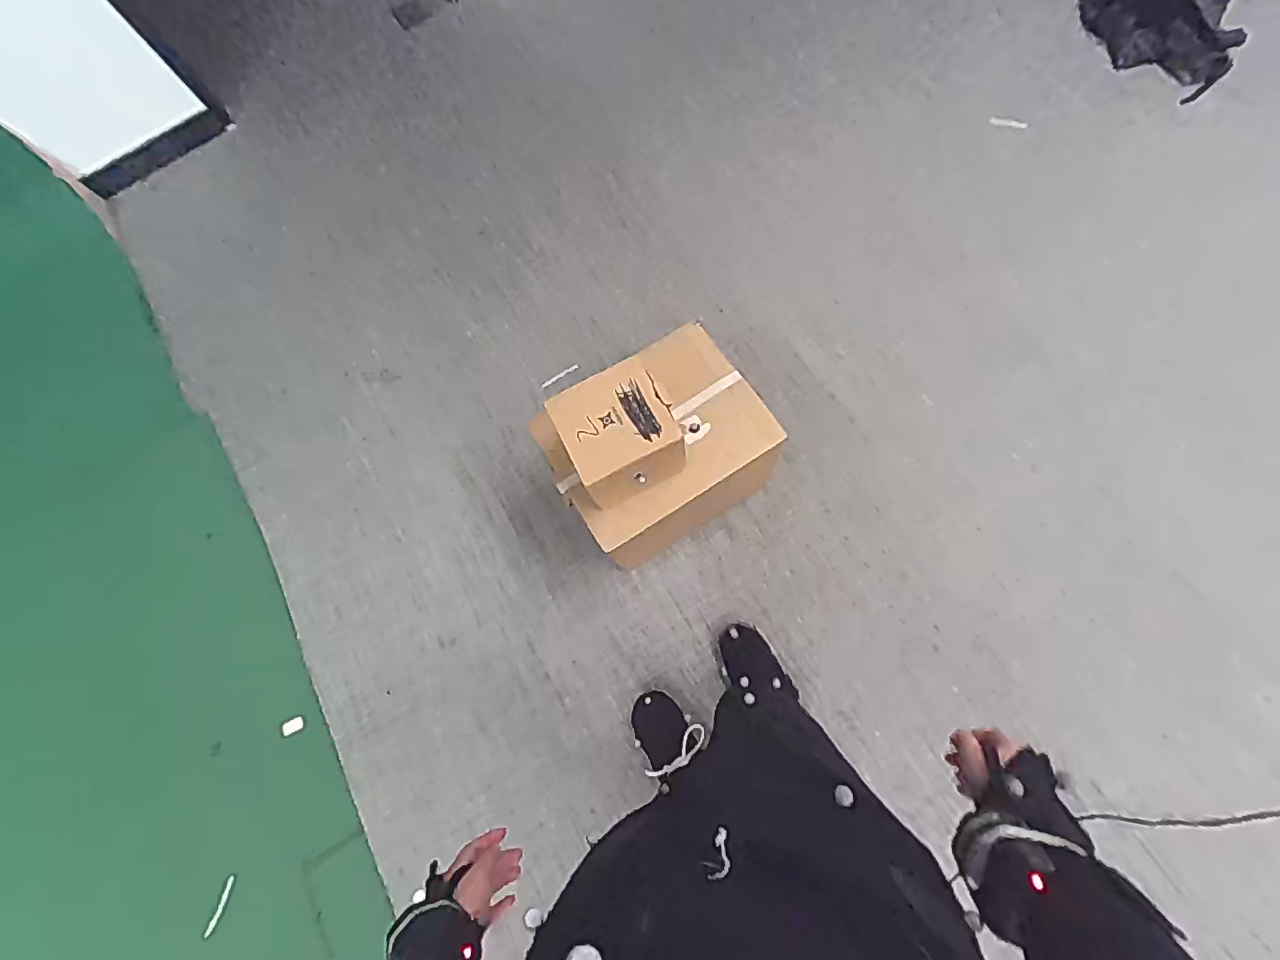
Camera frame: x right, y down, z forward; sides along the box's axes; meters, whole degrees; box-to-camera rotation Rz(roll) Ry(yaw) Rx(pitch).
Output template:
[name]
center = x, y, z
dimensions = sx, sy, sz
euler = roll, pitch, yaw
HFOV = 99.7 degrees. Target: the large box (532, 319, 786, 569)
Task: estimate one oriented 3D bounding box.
[large box]
center = 0.042, -0.057, 1.172
dimensions = 0.408, 0.320, 0.320
euler = -32, 74, -5
